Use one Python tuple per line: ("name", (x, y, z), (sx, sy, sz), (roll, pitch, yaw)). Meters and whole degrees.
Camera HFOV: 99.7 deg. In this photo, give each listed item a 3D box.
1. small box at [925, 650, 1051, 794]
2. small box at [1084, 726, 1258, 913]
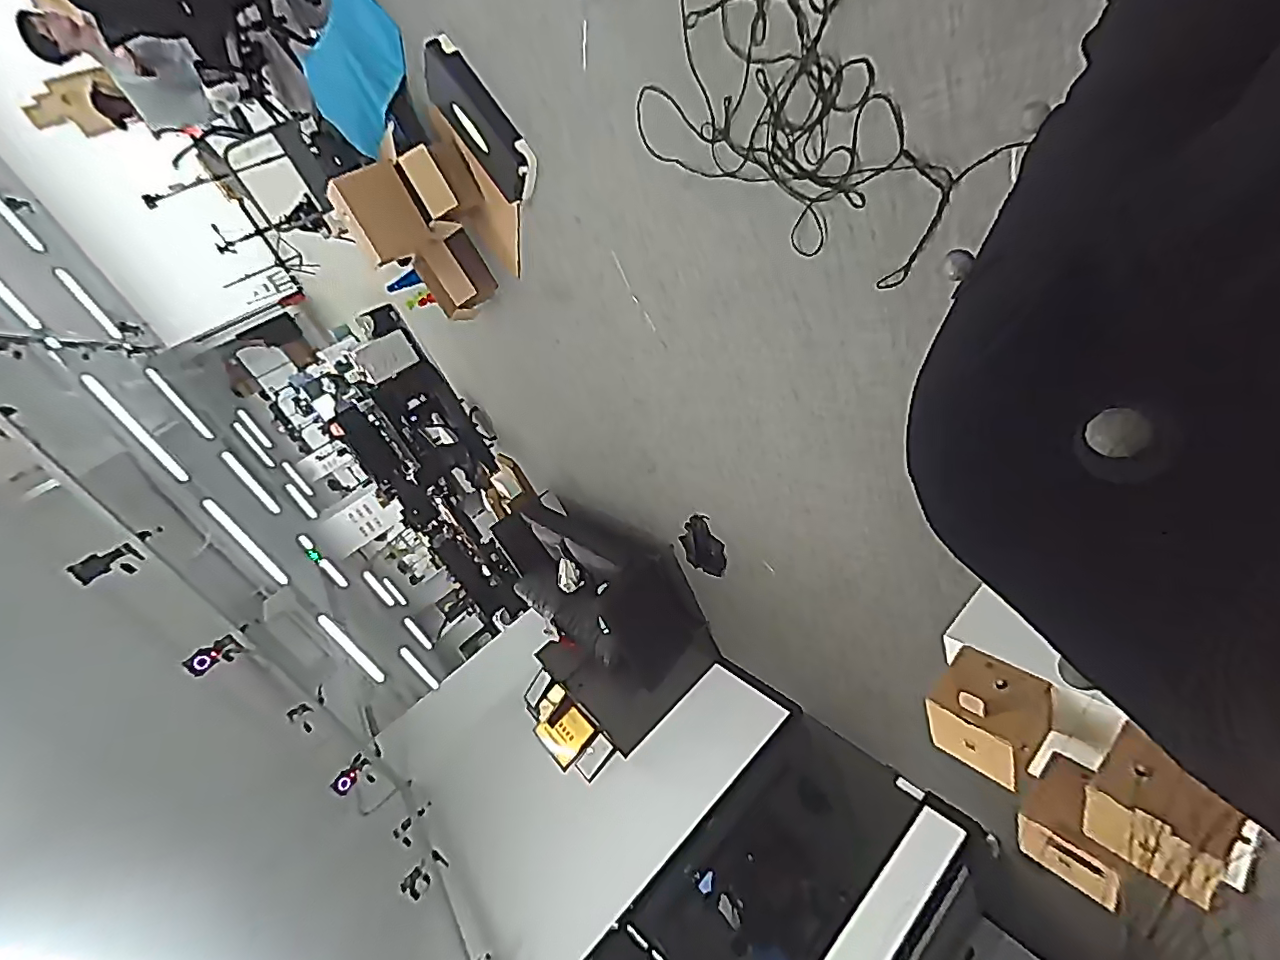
("small box", (0.726, 0.495, 1.126), (0.168, 0.176, 0.179), (21, 143, 52))
("small box", (0.885, 0.558, 0.909), (0.168, 0.176, 0.179), (24, 146, 53))
